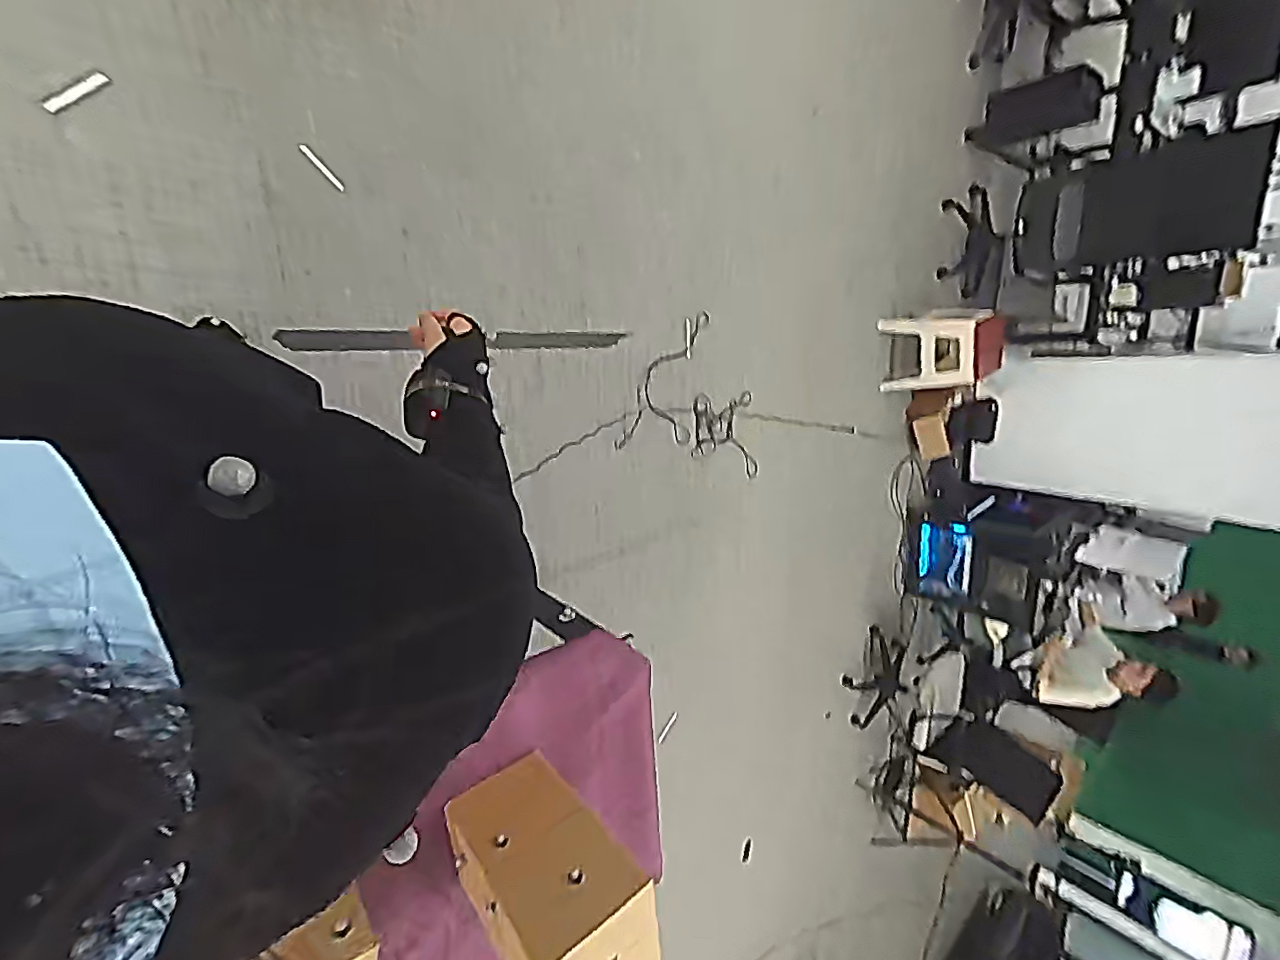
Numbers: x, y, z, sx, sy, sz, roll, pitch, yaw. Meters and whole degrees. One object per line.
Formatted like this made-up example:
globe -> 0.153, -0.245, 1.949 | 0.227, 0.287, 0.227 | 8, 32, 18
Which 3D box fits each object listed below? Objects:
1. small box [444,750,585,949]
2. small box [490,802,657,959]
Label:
small box -> -0.200, 0.592, 0.897 | 0.179, 0.176, 0.168 | -17, 109, -36
small box -> -0.098, 0.614, 0.770 | 0.179, 0.176, 0.168 | -17, 110, -36
